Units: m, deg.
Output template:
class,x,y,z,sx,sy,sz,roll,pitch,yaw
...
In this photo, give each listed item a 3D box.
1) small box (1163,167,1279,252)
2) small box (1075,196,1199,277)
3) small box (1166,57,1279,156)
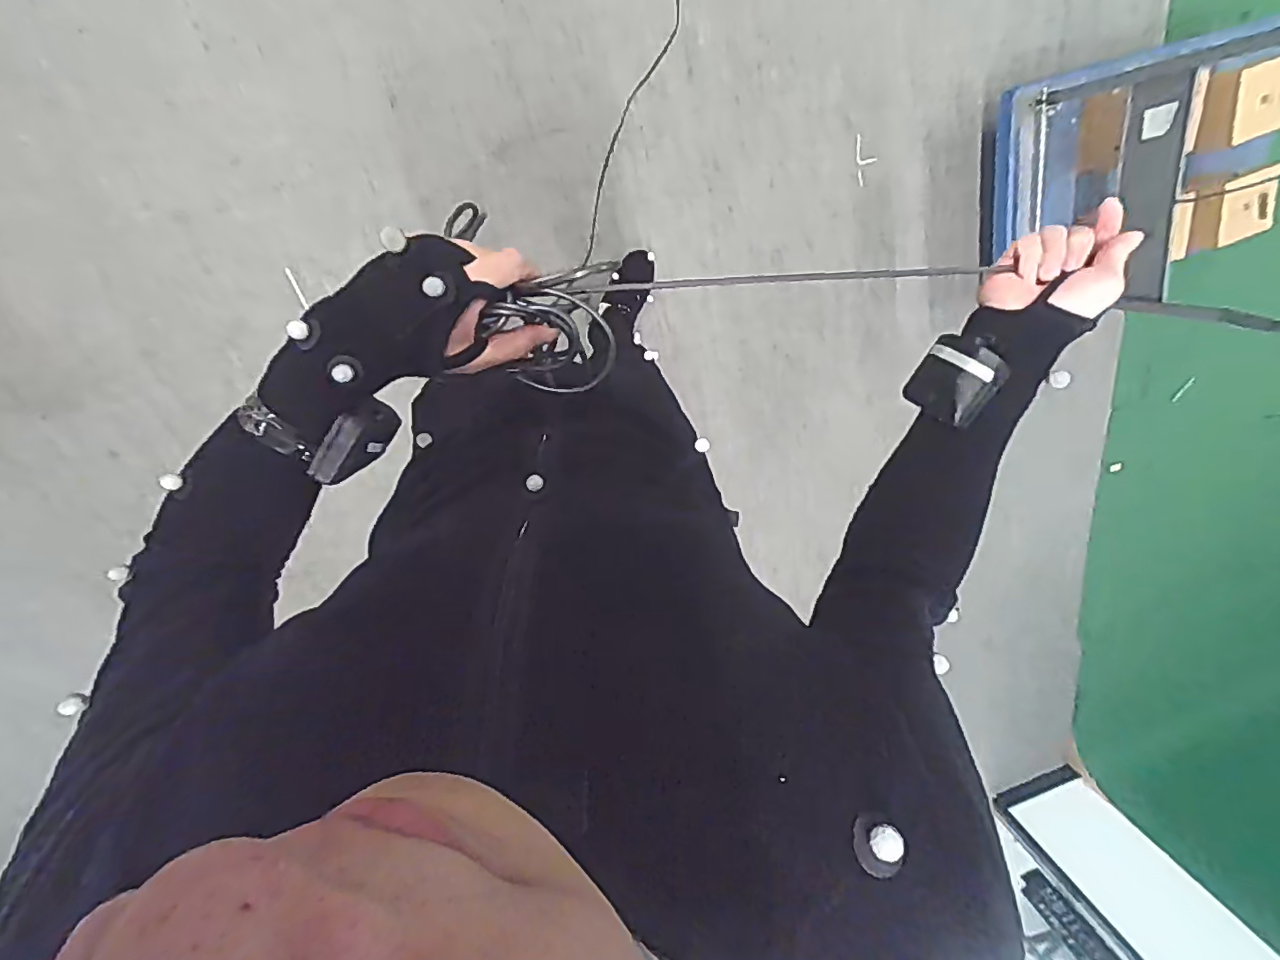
class,x,y,z,sx,sy,sz,roll,pitch,yaw
small box,1.603,-0.746,1.502,0.179,0.176,0.168,-21,114,-3
small box,1.348,-0.663,1.477,0.179,0.176,0.168,-17,115,-5
small box,1.524,-0.961,1.397,0.179,0.176,0.168,-22,115,-4
